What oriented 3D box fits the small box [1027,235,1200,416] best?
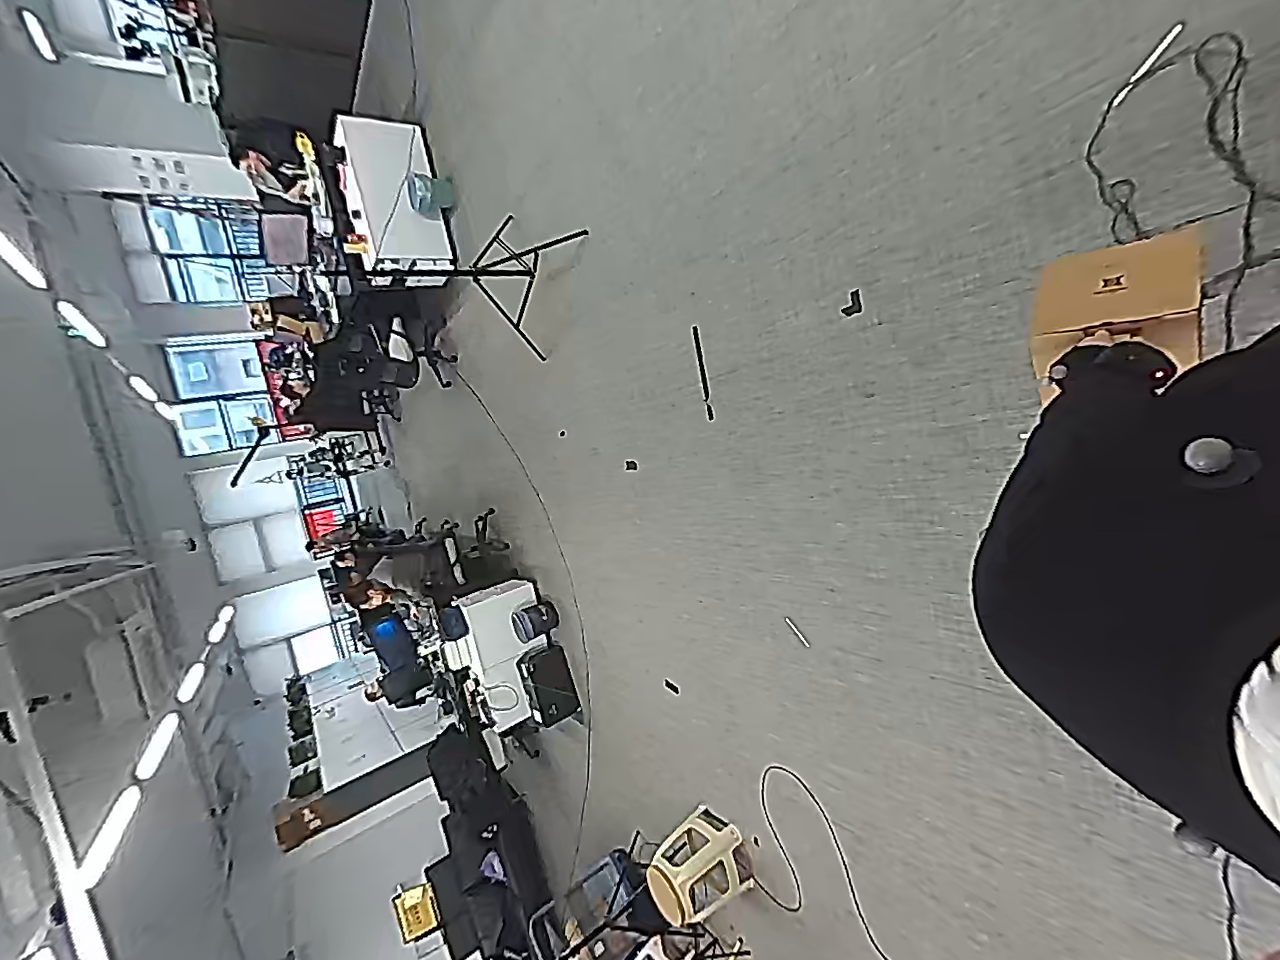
[{"bbox_3d":[0.672,-0.203,0.764,0.168,0.179,0.176,1,138,46],"label":"small box"}]
